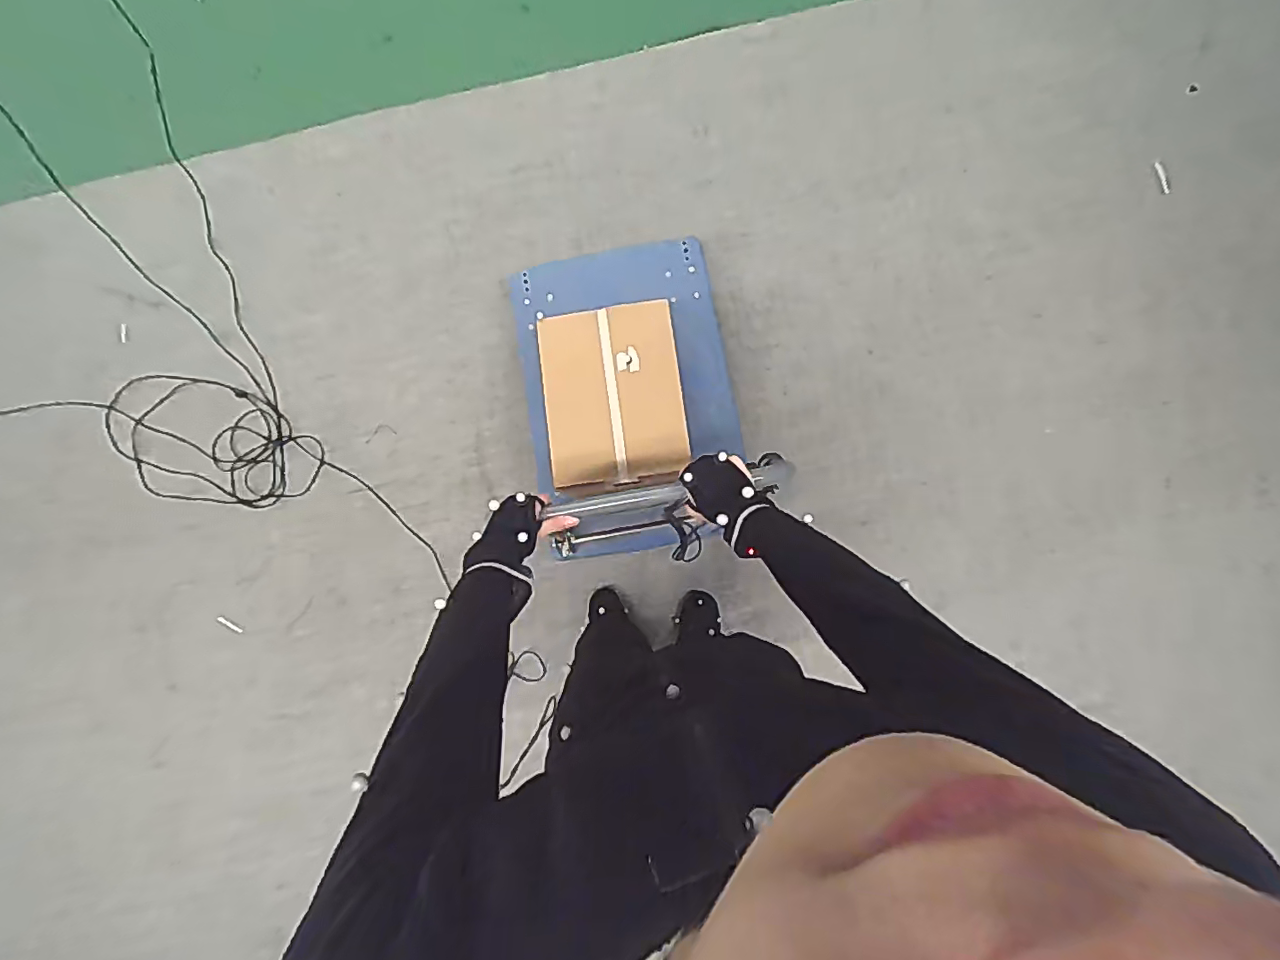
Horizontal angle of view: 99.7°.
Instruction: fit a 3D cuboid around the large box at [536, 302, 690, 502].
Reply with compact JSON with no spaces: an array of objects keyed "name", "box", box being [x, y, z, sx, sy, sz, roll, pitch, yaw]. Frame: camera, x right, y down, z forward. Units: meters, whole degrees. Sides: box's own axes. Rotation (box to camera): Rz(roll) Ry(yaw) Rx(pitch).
[{"name":"large box","box":[-0.055,-0.176,1.374,0.320,0.320,0.408,-8,81,2]}]
